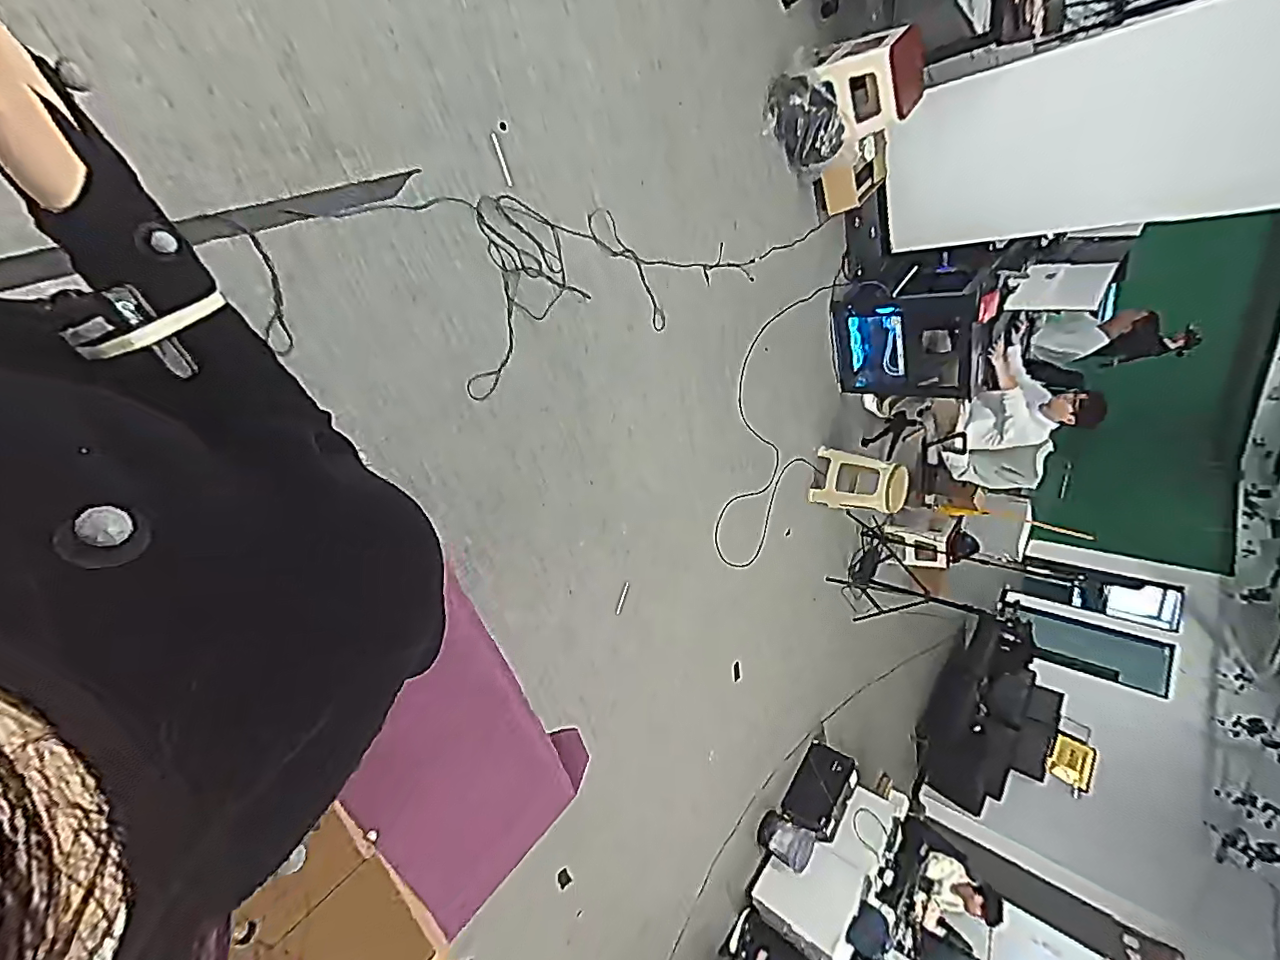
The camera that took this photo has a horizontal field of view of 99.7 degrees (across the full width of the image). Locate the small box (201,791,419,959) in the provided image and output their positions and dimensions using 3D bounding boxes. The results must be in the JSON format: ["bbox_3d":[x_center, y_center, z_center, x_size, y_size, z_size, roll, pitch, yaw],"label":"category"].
[{"bbox_3d":[-0.431,0.561,0.704,0.179,0.176,0.168,-36,124,-36],"label":"small box"}]
